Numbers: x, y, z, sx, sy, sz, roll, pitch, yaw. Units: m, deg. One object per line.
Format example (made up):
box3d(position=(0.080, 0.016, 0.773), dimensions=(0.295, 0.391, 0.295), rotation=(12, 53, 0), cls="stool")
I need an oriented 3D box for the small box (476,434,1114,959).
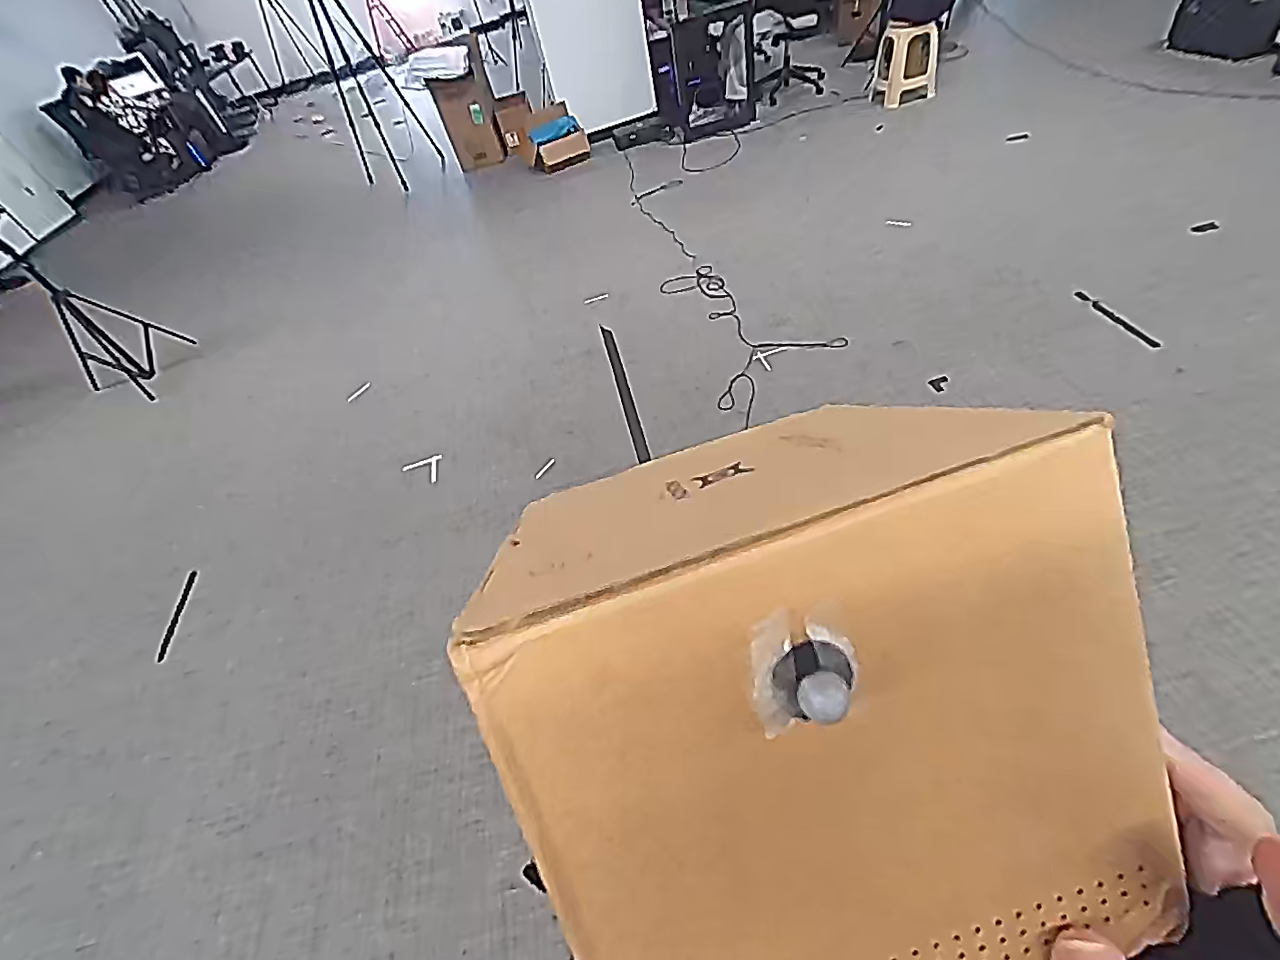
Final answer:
box3d(position=(0.055, 0.089, 0.241), dimensions=(0.179, 0.176, 0.168), rotation=(-19, 10, -2), cls="small box")
